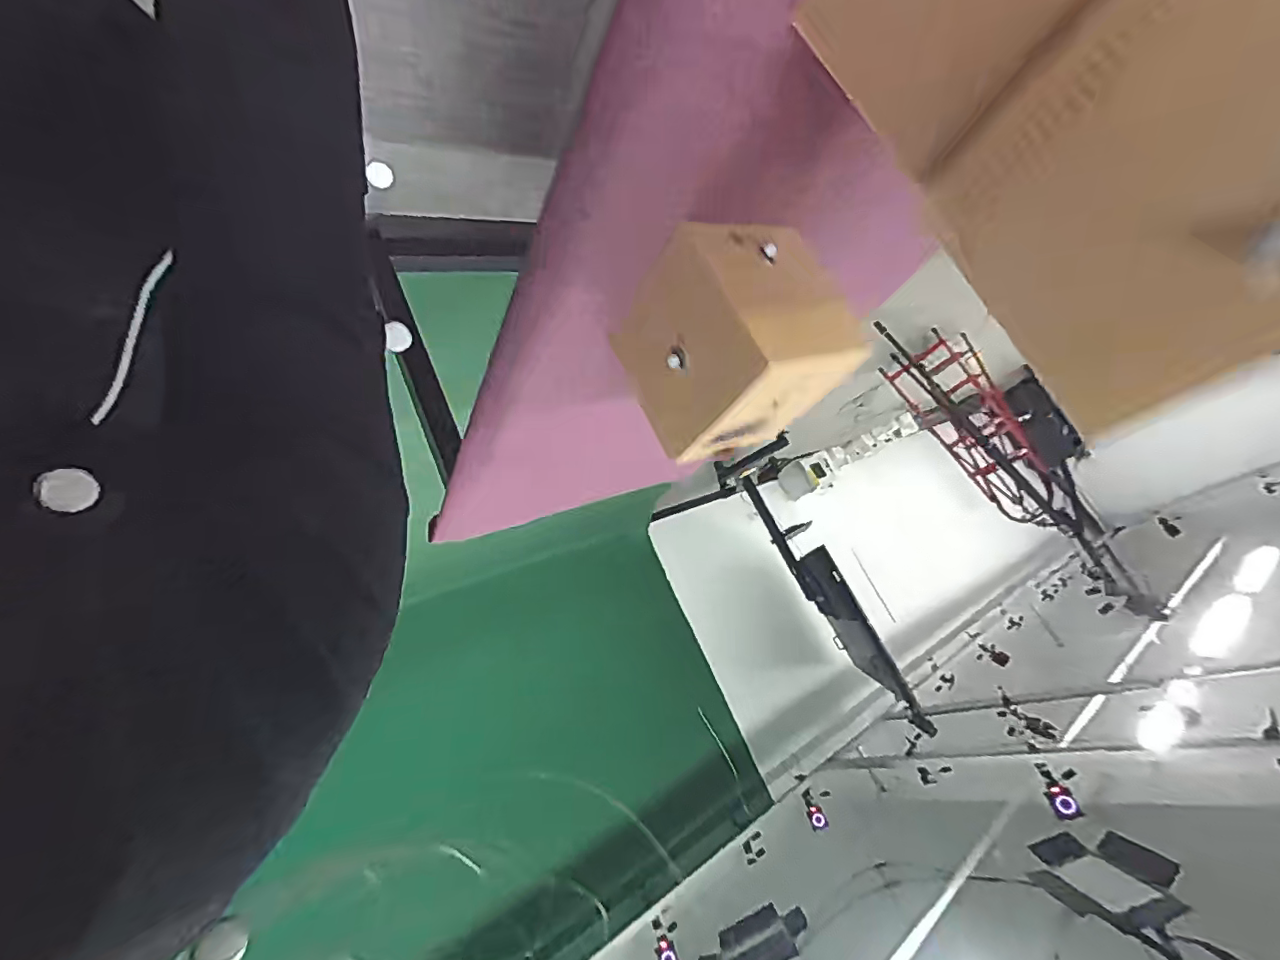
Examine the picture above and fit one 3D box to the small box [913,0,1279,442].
[{"bbox_3d":[0.279,-0.146,0.282,0.168,0.176,0.179,-17,162,-31],"label":"small box"}]
